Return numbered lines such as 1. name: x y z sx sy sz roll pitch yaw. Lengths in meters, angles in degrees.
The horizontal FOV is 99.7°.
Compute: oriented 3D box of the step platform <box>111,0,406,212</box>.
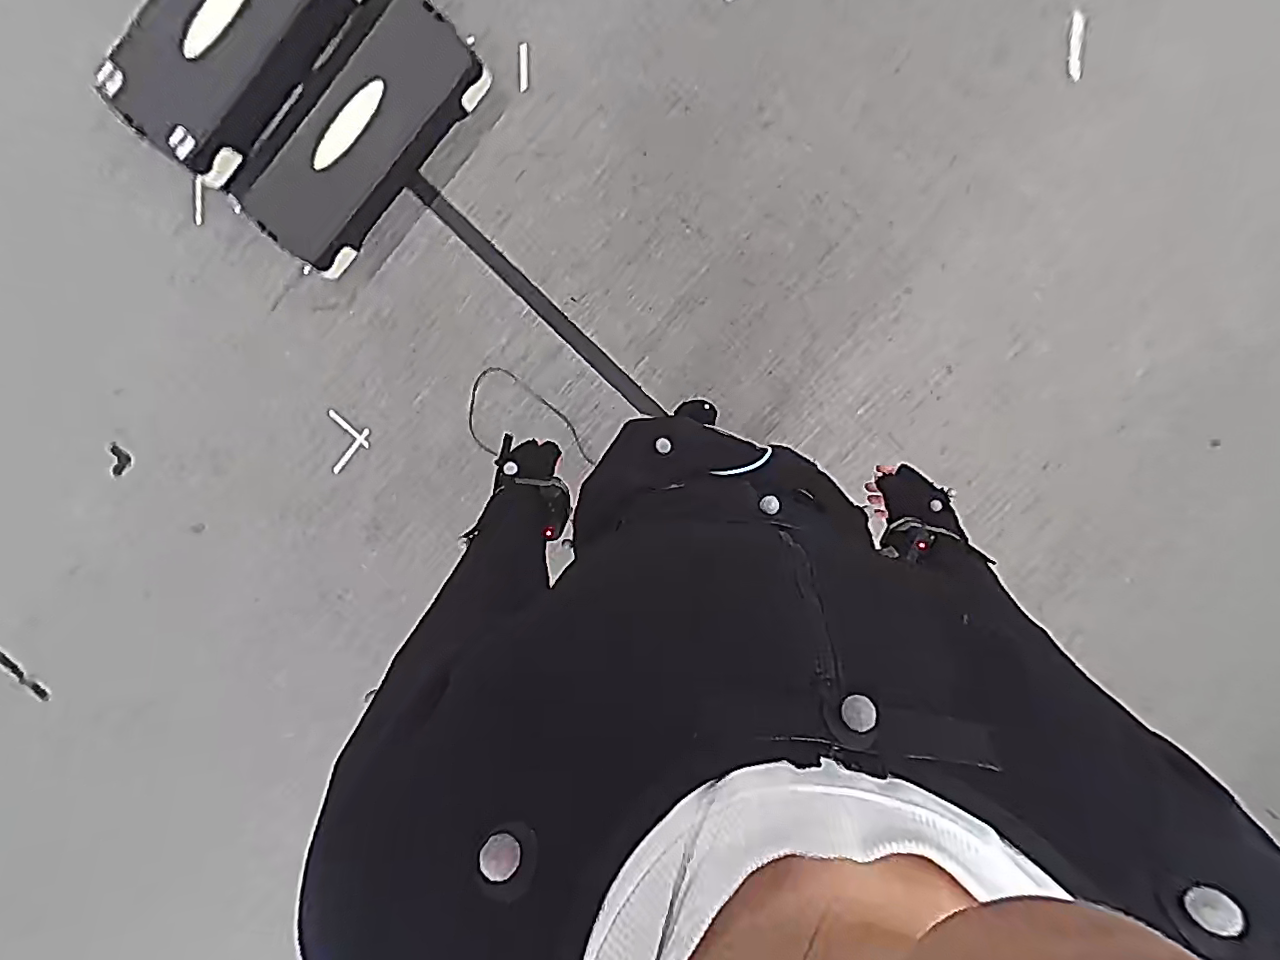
1. step platform: -0.887 -0.998 1.270 0.286 0.204 0.684 42 96 -4
